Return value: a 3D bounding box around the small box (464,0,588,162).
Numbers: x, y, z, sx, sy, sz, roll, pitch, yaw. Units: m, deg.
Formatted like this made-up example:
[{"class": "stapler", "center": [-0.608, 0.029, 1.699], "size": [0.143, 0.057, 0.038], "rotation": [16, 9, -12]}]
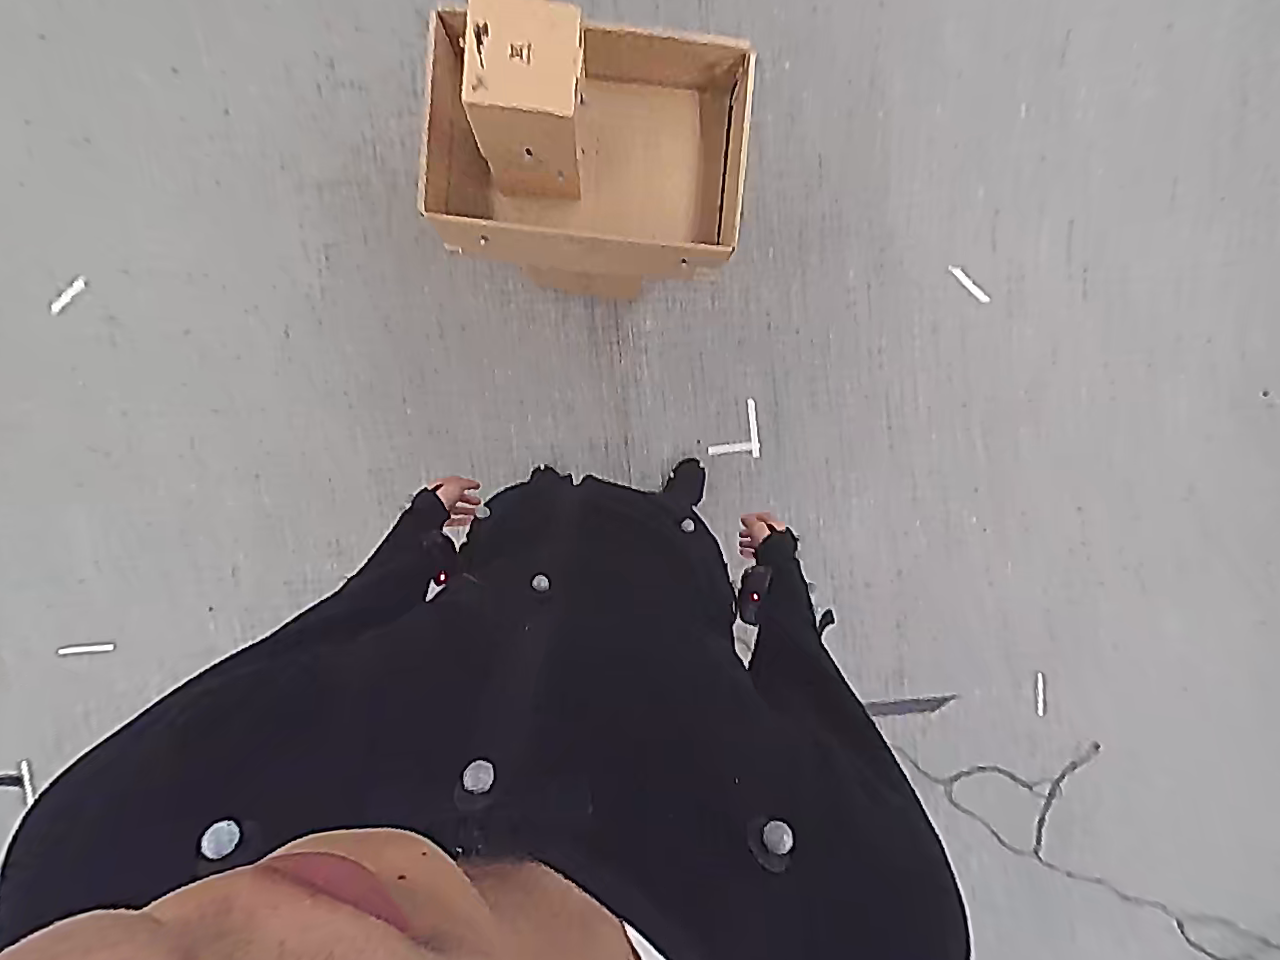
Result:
[{"class": "small box", "center": [-0.182, -0.665, 0.906], "size": [0.179, 0.176, 0.168], "rotation": [6, 93, -6]}]
